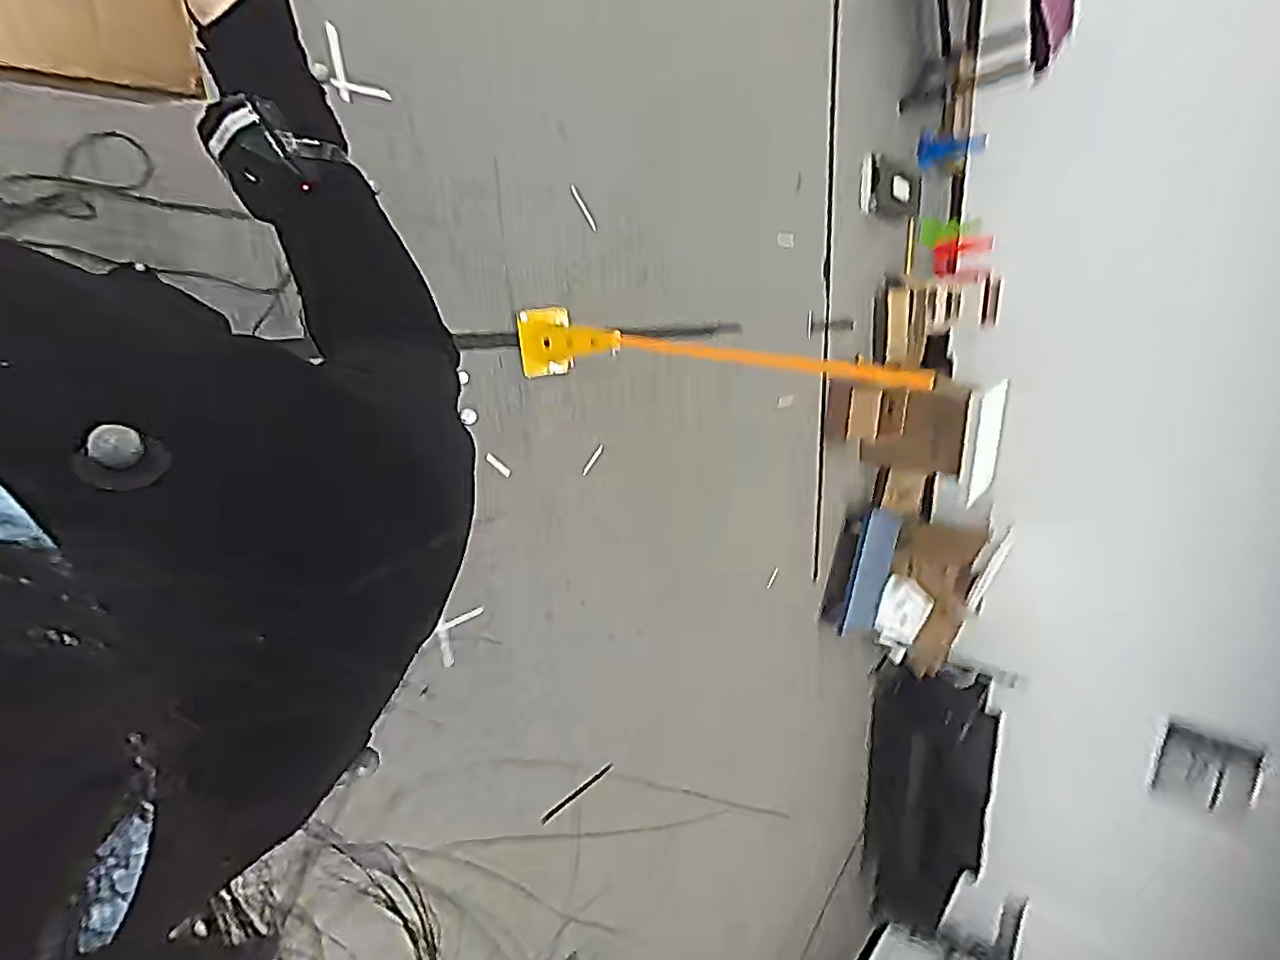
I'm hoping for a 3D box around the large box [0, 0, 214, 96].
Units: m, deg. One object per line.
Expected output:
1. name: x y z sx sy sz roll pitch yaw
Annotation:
1. large box: -0.551 -0.443 0.310 0.408 0.320 0.320 -18 126 -40
